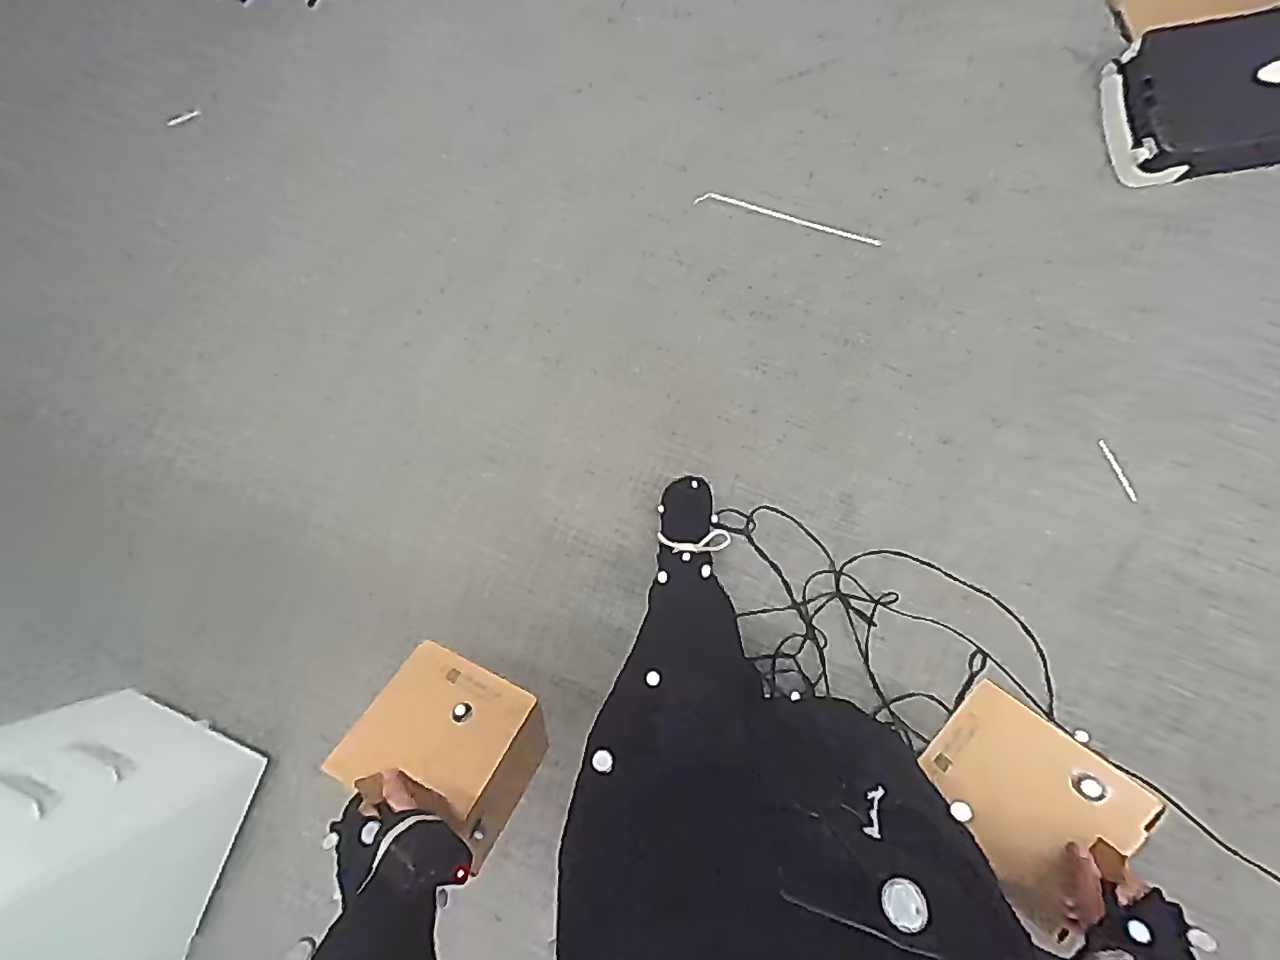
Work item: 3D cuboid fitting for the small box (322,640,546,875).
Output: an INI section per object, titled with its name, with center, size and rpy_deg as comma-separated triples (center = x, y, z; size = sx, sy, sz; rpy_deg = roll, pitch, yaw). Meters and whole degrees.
[small box]
center = -0.226, 0.328, 0.649
size = 0.168, 0.179, 0.176
rpy_deg = 22, 49, 15
